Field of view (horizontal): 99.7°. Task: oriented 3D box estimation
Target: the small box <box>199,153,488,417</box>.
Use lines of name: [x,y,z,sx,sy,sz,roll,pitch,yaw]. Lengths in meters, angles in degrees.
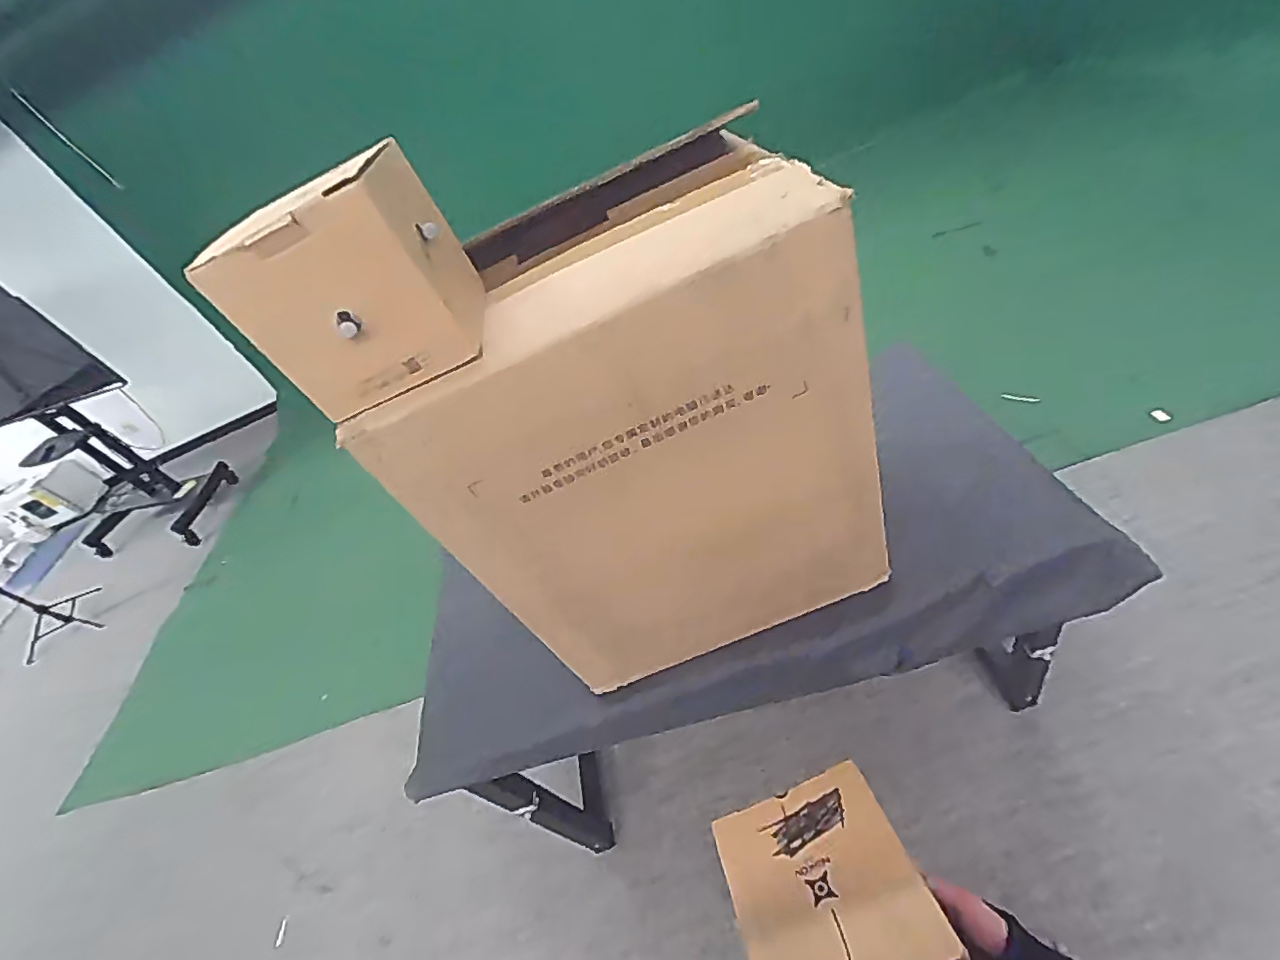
small box: [-0.267,-0.185,0.538,0.168,0.176,0.179,-23,42,6]
